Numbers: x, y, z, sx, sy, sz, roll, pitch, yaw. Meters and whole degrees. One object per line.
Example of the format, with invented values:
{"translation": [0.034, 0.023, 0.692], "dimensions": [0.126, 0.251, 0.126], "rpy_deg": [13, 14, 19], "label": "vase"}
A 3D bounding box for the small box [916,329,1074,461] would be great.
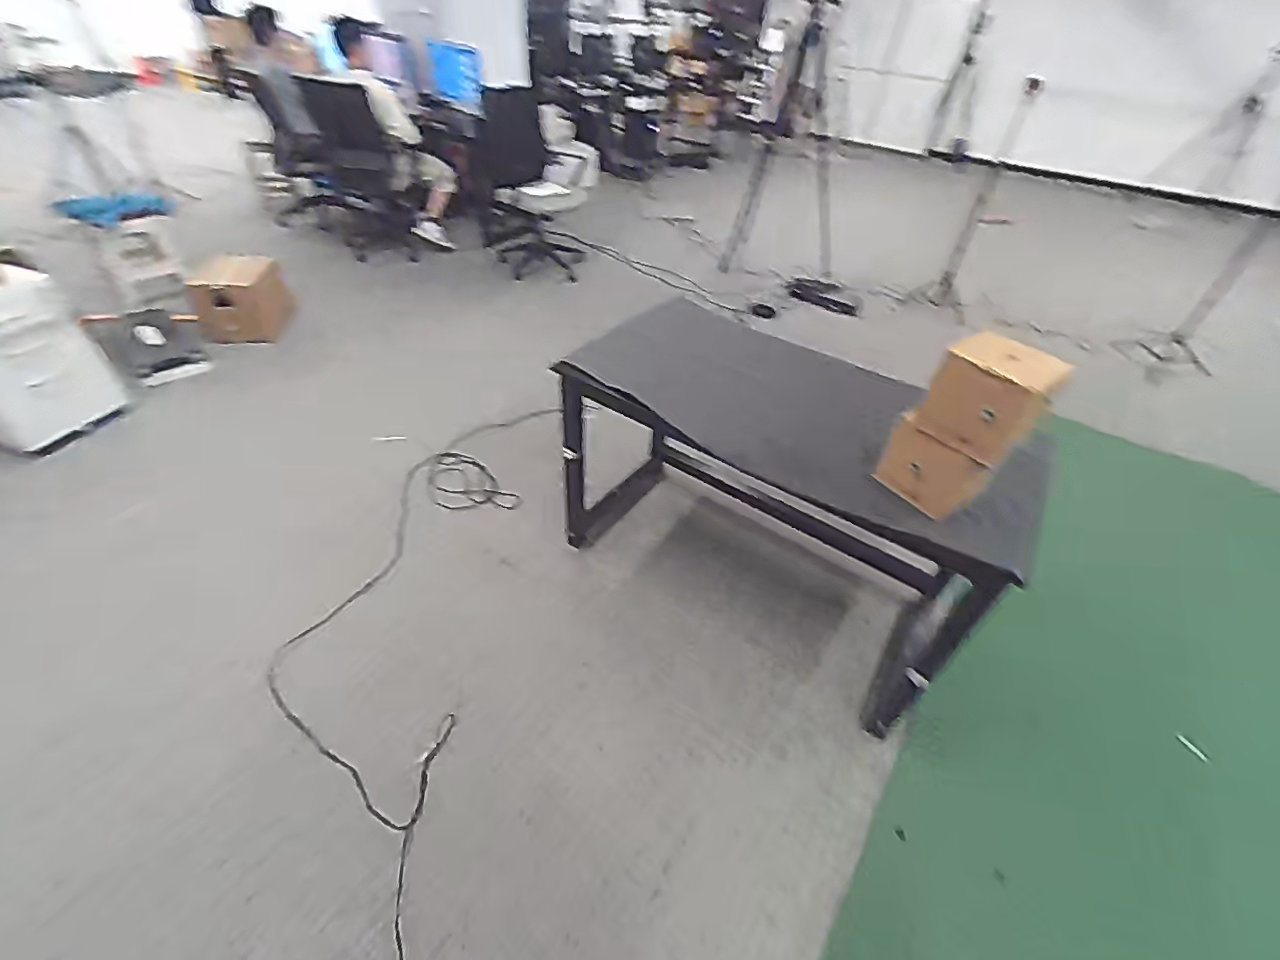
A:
{"translation": [0.657, -0.161, 1.023], "dimensions": [0.179, 0.176, 0.168], "rpy_deg": [-24, 49, -32], "label": "small box"}

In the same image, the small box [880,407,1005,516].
{"translation": [0.638, -0.050, 1.142], "dimensions": [0.179, 0.176, 0.168], "rpy_deg": [-20, 47, -28], "label": "small box"}
